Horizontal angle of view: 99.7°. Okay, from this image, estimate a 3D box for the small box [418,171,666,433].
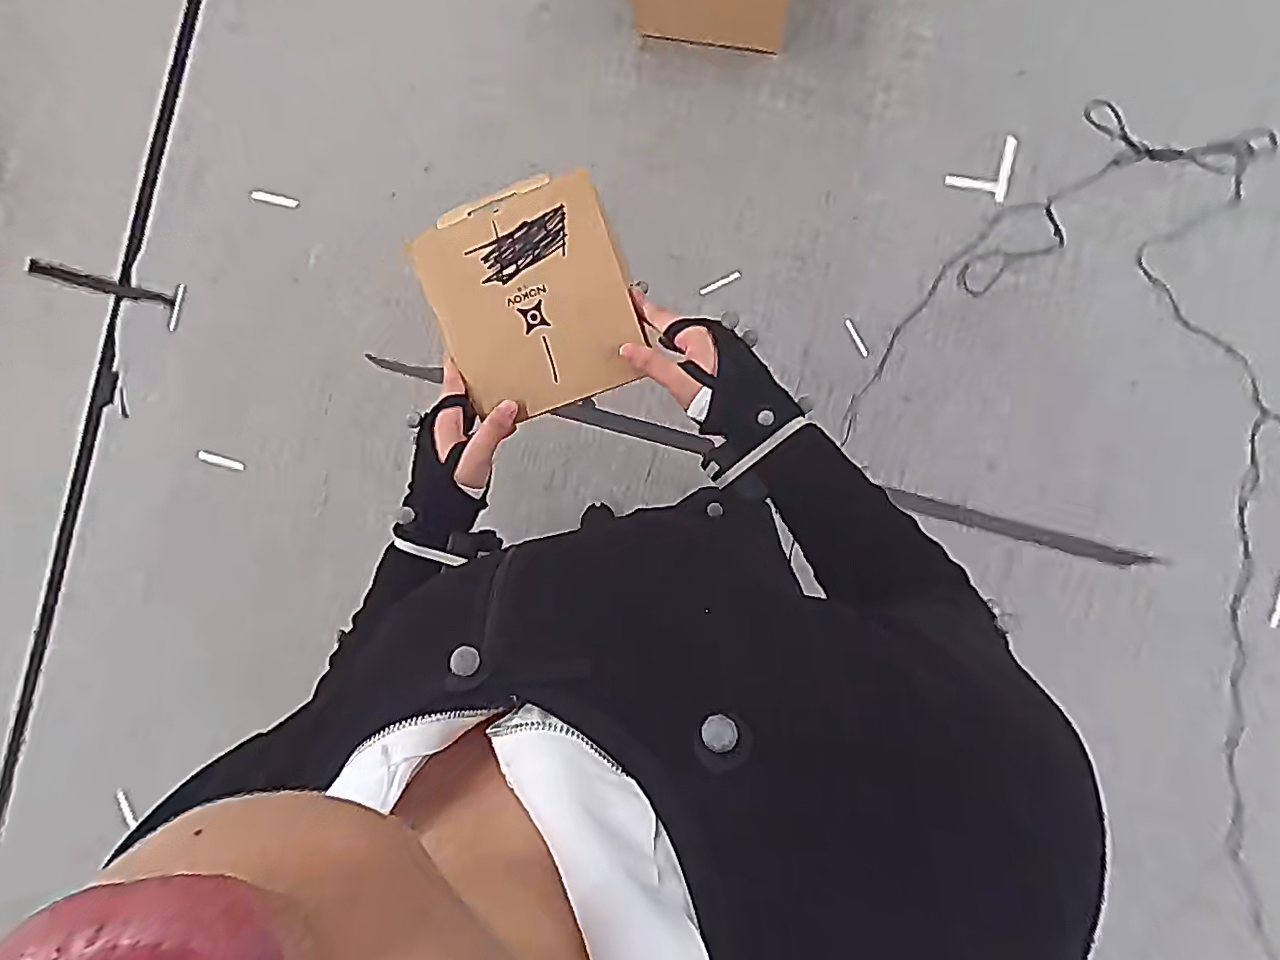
[{"bbox_3d":[-0.078,-0.160,0.532,0.168,0.176,0.179,-17,101,9],"label":"small box"}]
